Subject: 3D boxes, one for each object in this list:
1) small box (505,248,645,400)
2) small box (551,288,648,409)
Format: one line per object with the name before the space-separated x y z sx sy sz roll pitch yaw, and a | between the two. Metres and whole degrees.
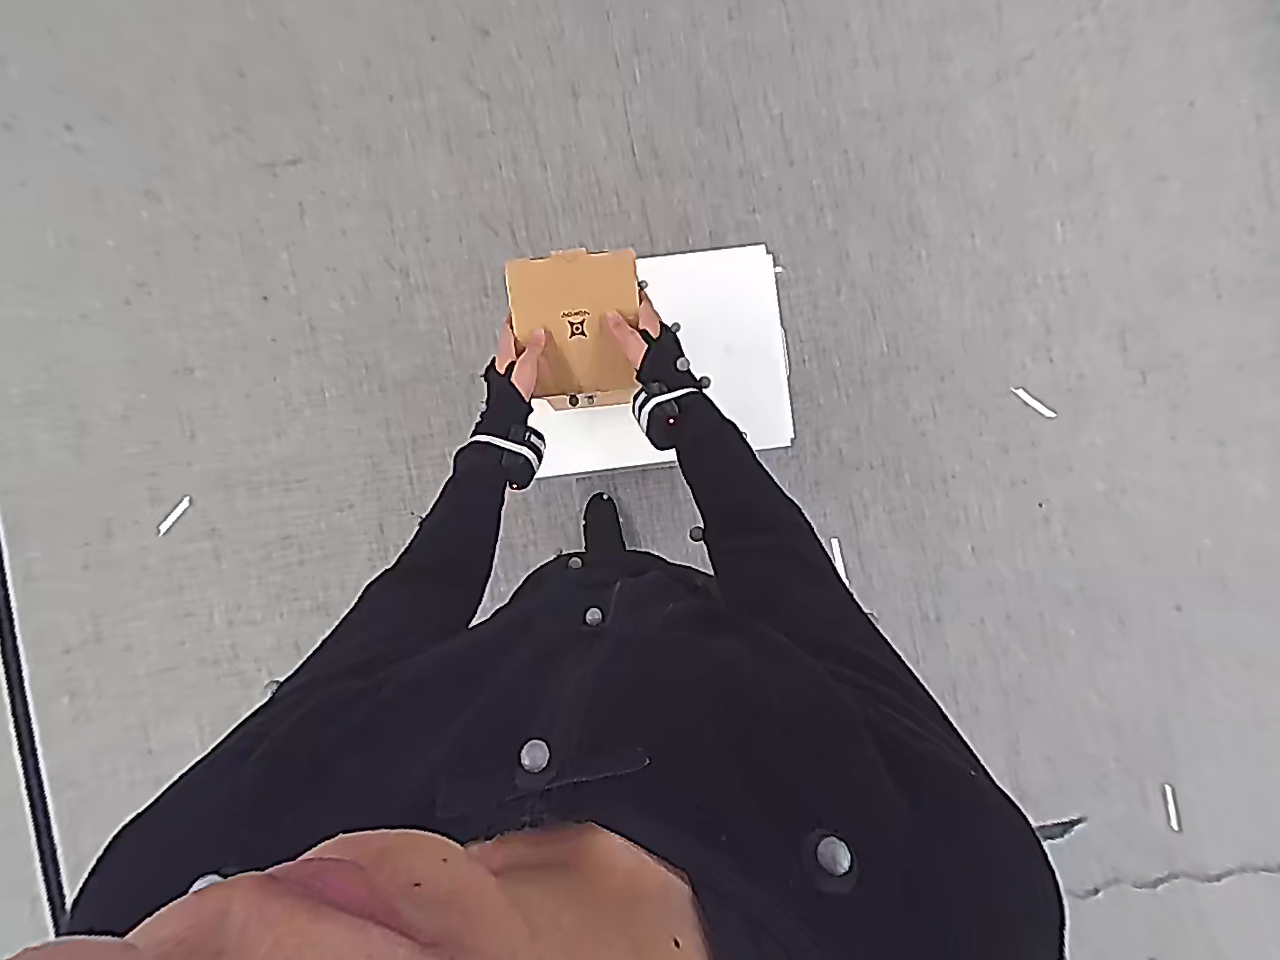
small box | -0.082 -0.209 0.765 0.168 0.176 0.179 -6 98 -1
small box | -0.082 -0.224 0.955 0.179 0.176 0.168 -6 90 -3
